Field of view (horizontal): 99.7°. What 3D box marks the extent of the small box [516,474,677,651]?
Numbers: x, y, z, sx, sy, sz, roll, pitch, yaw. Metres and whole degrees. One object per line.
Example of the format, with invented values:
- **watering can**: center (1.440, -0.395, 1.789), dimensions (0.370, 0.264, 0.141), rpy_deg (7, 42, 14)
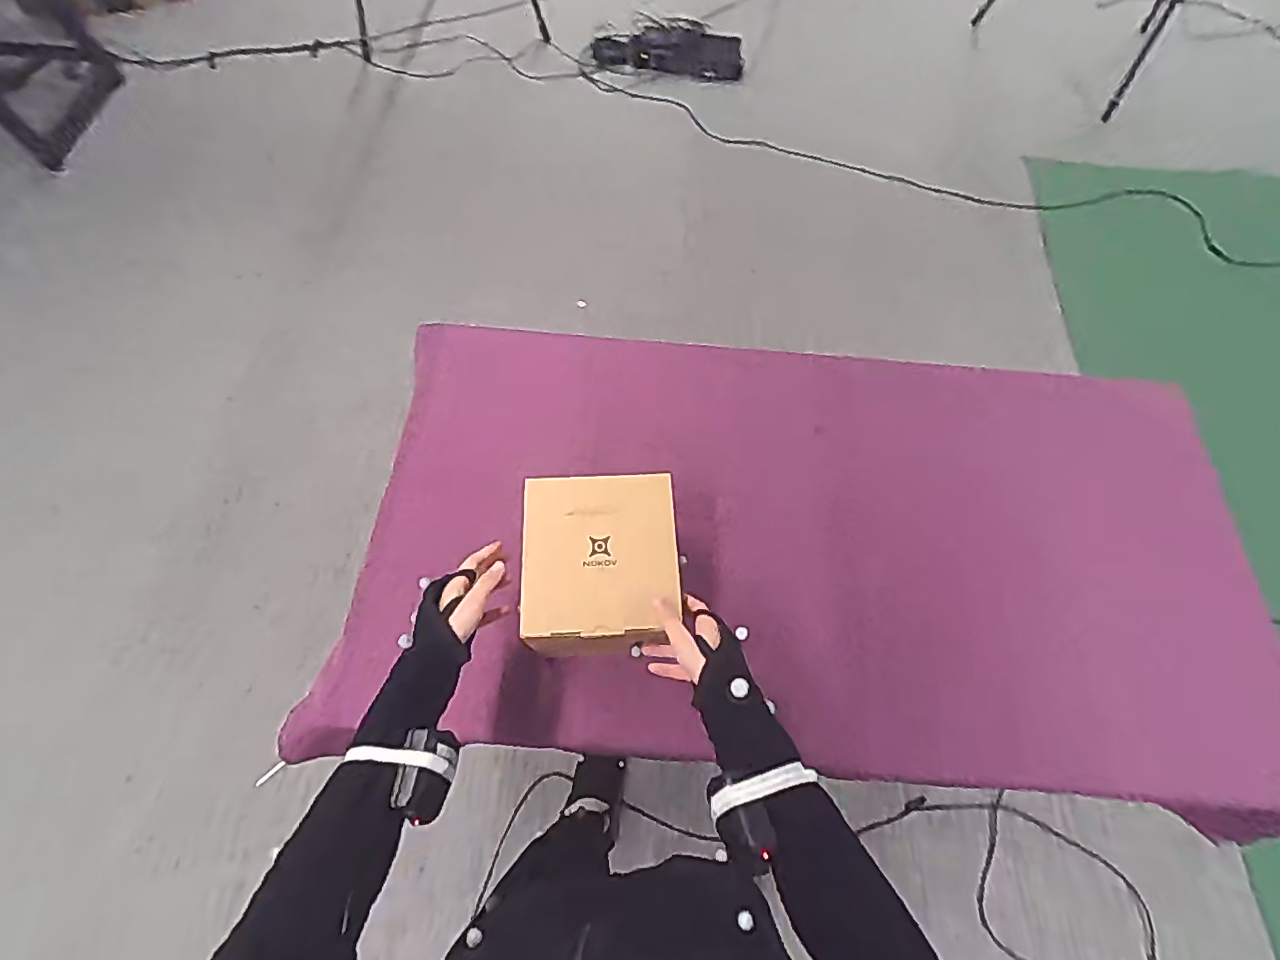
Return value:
- **small box**: center (-0.046, 0.107, 0.645), dimensions (0.168, 0.176, 0.179), rpy_deg (-1, 65, -3)
